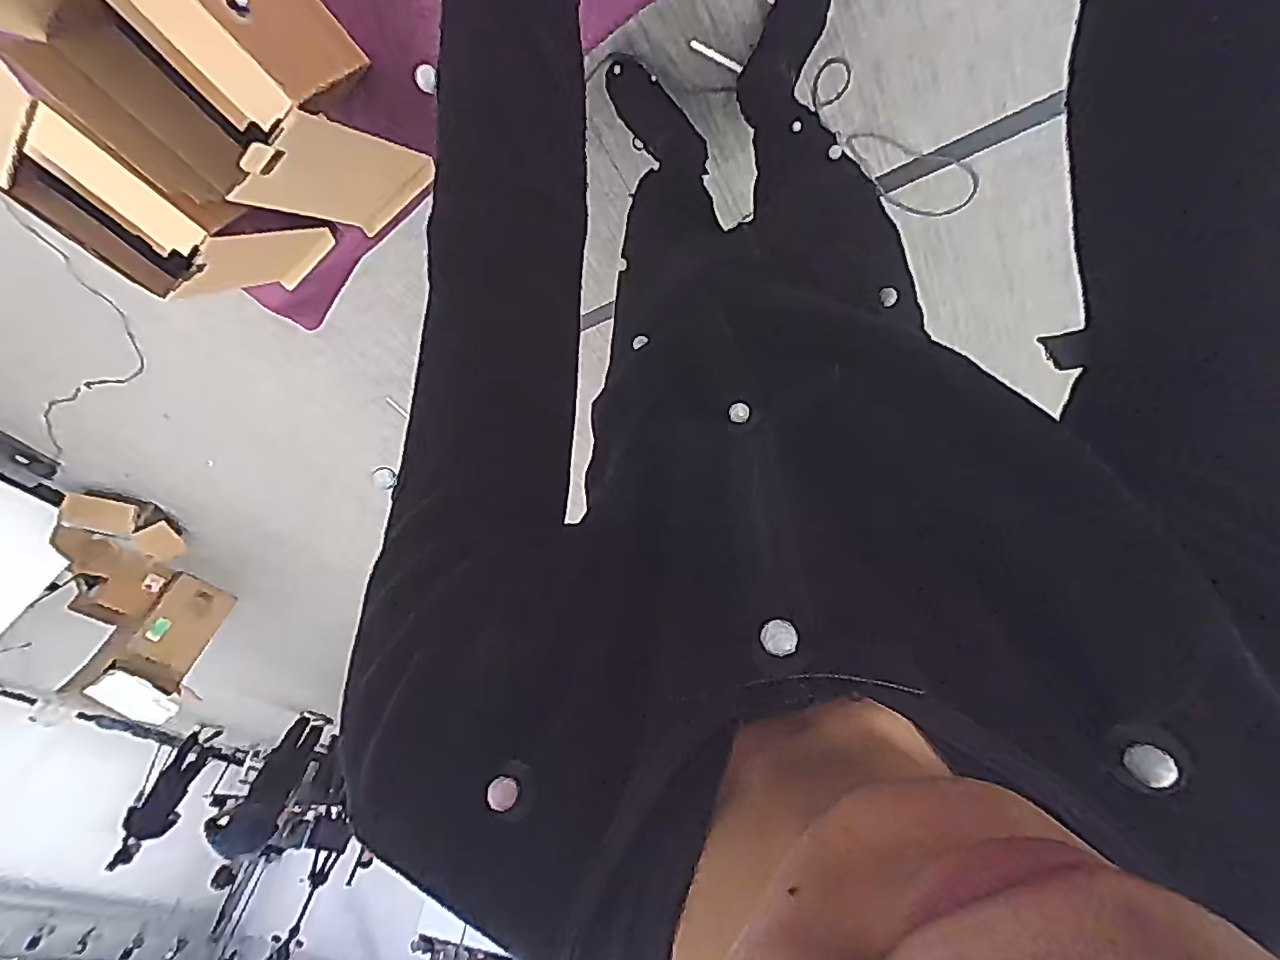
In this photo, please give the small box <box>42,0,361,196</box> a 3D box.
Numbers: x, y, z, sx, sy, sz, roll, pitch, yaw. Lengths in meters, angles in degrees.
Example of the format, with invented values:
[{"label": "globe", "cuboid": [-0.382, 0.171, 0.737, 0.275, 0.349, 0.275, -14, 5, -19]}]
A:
[{"label": "small box", "cuboid": [-0.437, -0.450, 0.566, 0.168, 0.176, 0.179, -20, 132, 30]}]
